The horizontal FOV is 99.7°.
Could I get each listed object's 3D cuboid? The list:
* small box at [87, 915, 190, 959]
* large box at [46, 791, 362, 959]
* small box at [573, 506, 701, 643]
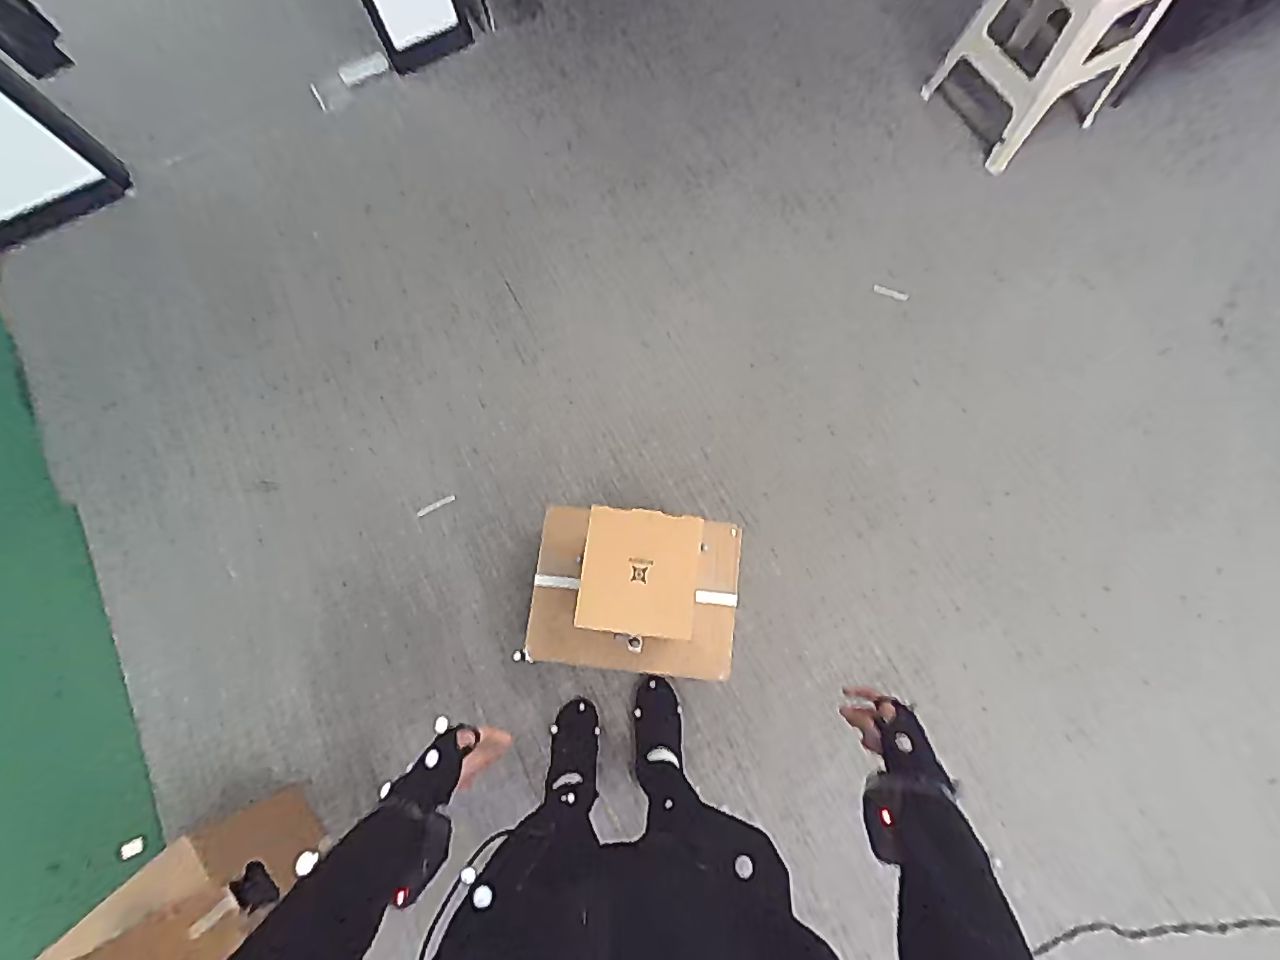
[{"bbox_3d":[-0.838,0.848,0.845,0.168,0.176,0.179,-40,77,-9],"label":"small box"},{"bbox_3d":[-0.870,0.930,1.076,0.408,0.320,0.320,-41,76,-7],"label":"large box"},{"bbox_3d":[0.001,0.151,0.835,0.168,0.176,0.179,6,73,4],"label":"small box"}]
